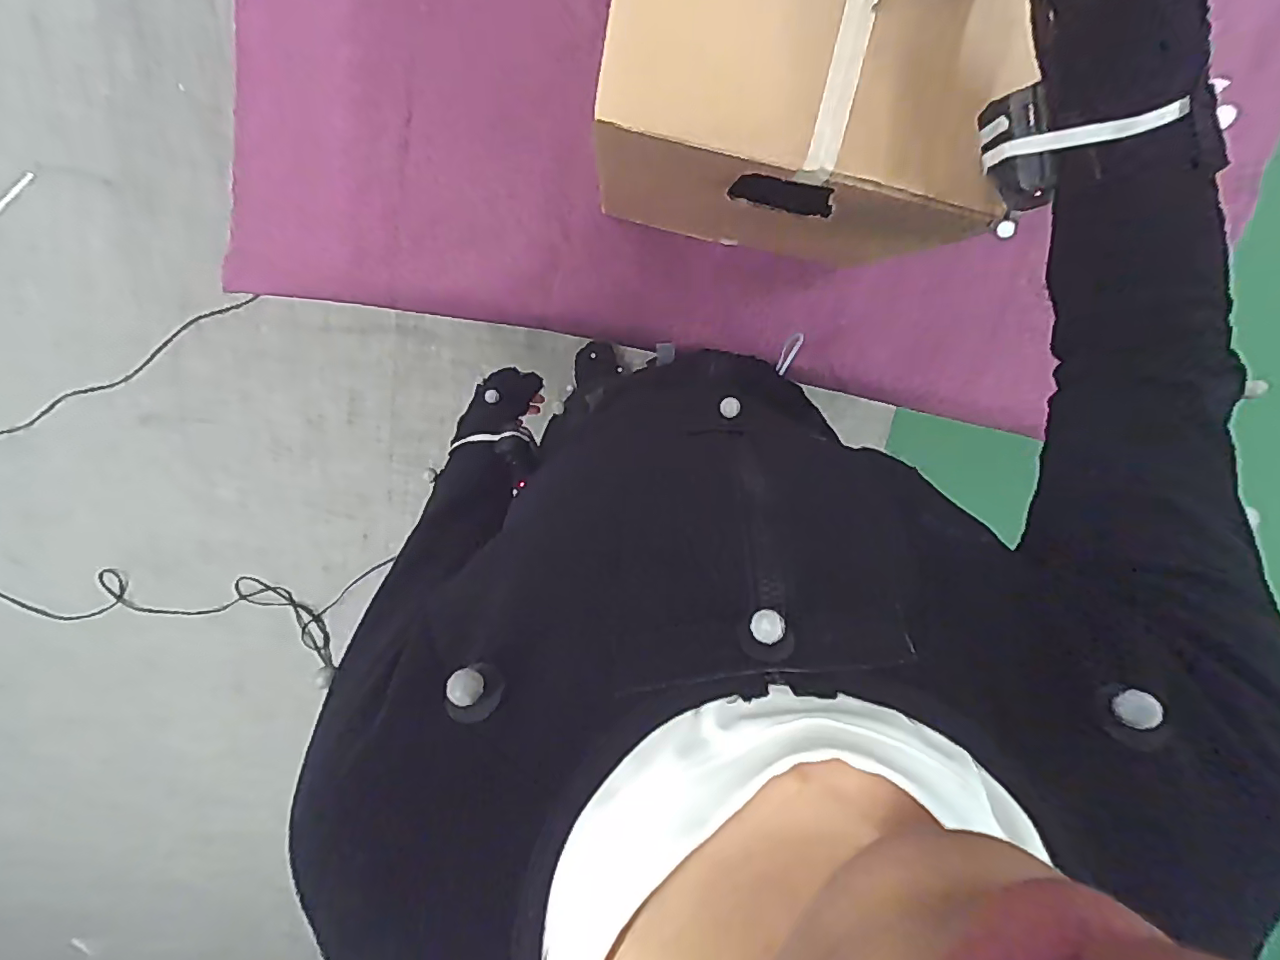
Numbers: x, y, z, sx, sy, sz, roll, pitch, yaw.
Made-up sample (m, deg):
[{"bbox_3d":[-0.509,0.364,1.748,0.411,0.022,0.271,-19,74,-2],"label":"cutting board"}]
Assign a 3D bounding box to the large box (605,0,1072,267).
[{"bbox_3d":[0.153,-0.448,0.490,0.320,0.320,0.408,11,105,-5],"label":"large box"}]
